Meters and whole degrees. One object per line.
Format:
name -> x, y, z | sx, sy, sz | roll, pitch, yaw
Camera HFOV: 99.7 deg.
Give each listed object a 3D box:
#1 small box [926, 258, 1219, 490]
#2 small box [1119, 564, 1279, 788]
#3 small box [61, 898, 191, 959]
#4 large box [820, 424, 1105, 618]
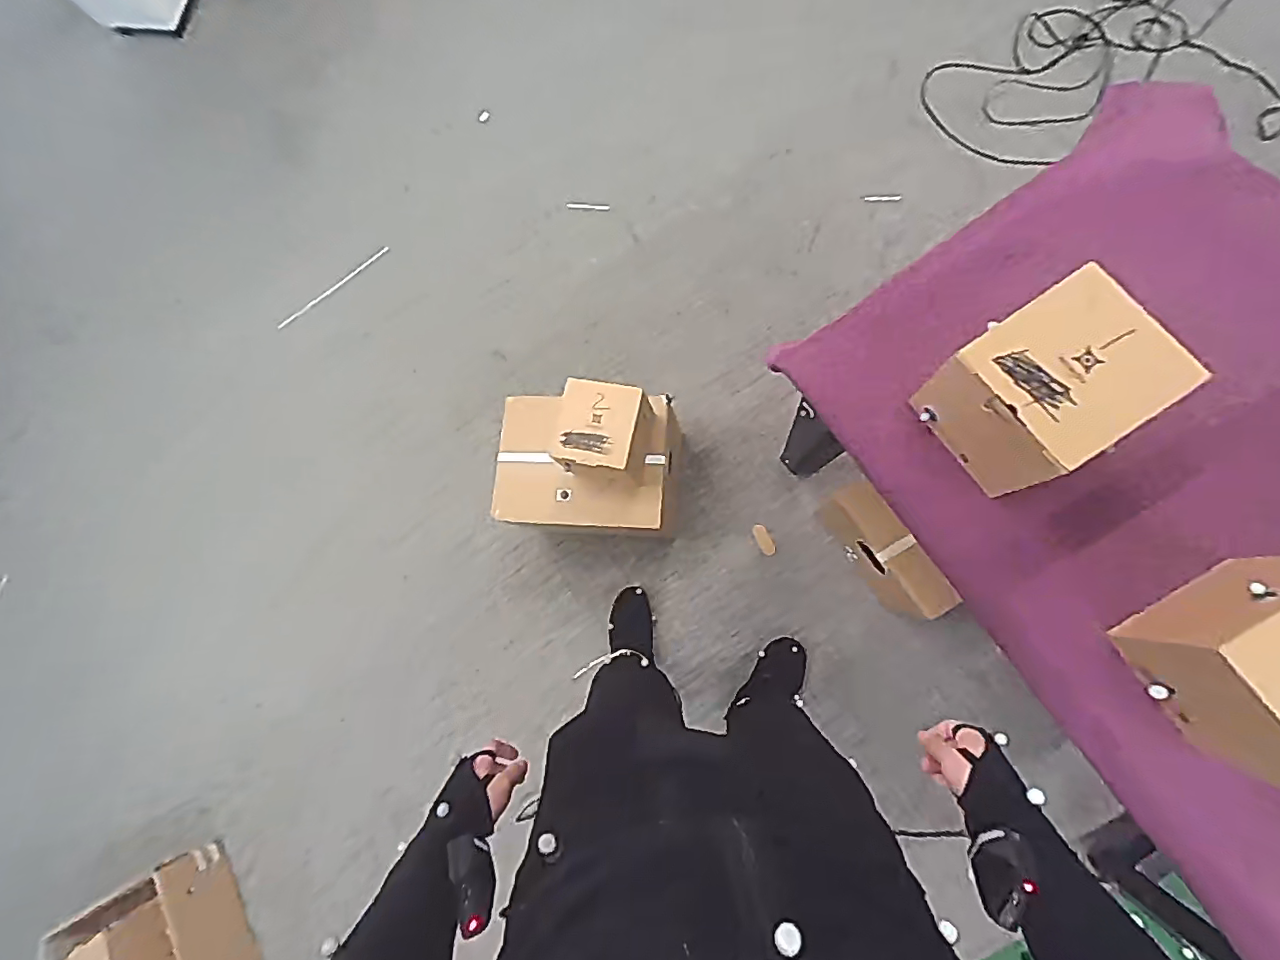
small box -> 0.466, -0.106, 0.626 | 0.179, 0.176, 0.168 | -34, 76, 2
small box -> 0.656, 0.190, 0.539 | 0.179, 0.176, 0.168 | -32, 75, 3
small box -> -1.357, 1.264, 1.434 | 0.168, 0.176, 0.179 | -37, 76, 2
large box -> 0.688, 0.072, 1.238 | 0.408, 0.320, 0.320 | -33, 76, 2
